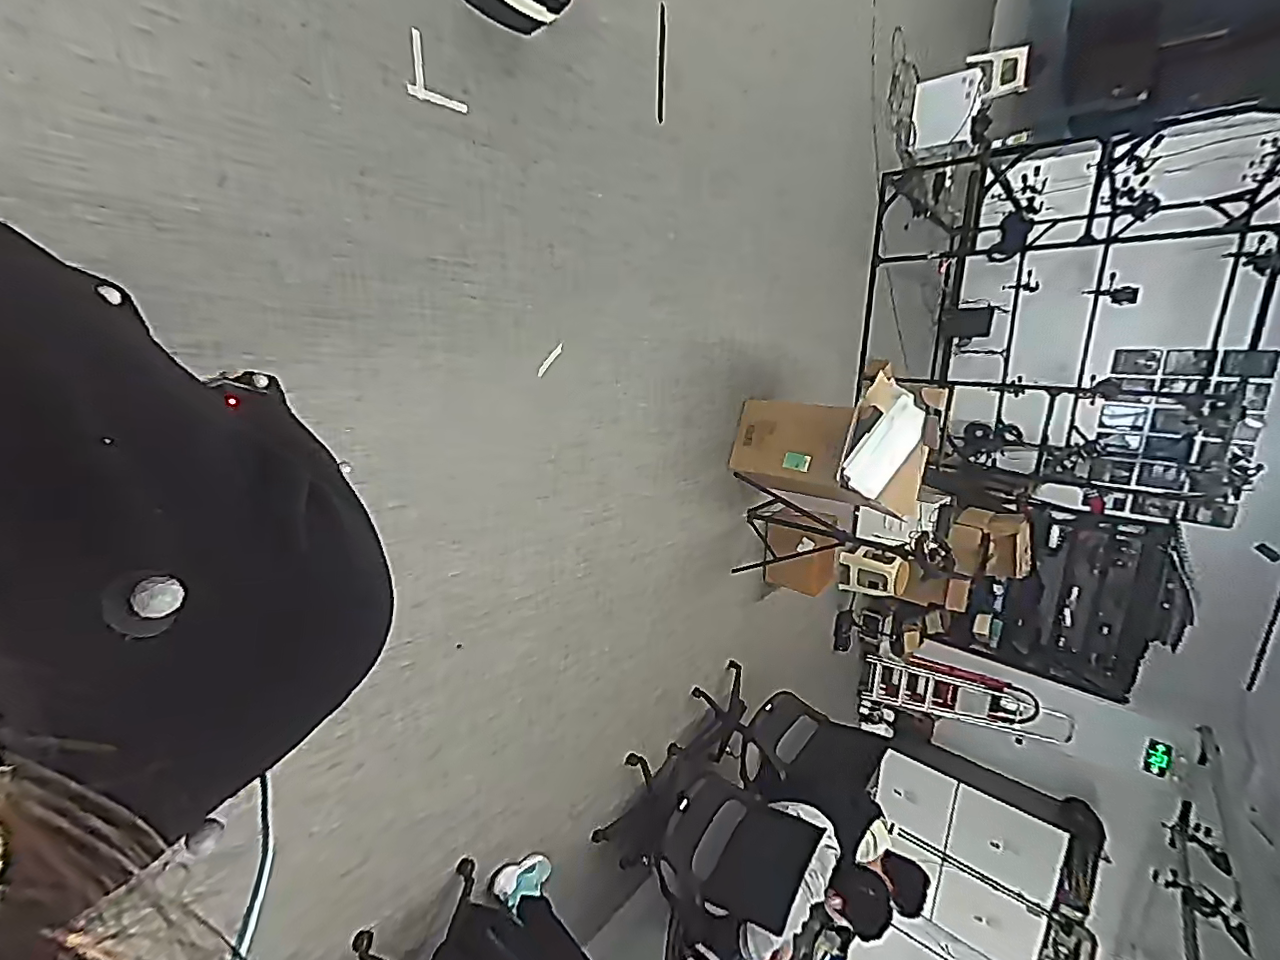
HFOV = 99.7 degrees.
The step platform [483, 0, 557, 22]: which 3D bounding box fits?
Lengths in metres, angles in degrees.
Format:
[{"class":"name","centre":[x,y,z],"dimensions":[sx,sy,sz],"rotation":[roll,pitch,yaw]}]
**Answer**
[{"class":"step platform","centre":[-0.325,-1.653,1.407],"dimensions":[0.286,0.204,0.684],"rotation":[-3,101,-48]}]
